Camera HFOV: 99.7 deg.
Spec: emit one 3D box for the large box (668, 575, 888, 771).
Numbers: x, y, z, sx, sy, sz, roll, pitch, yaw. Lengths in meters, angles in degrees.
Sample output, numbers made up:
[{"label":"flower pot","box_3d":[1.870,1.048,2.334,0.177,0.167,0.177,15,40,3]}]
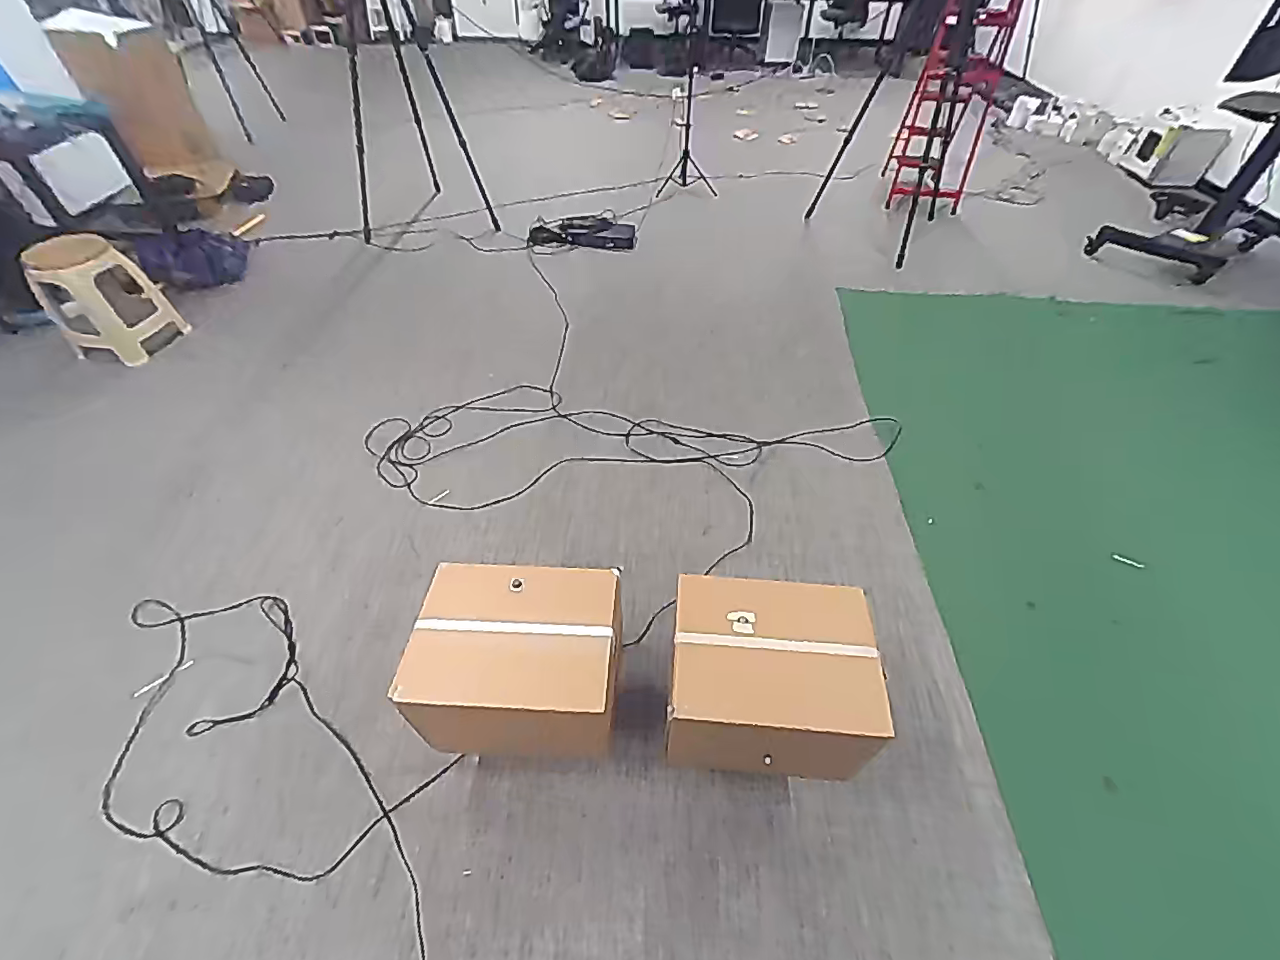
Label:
[{"label":"large box","box_3d":[0.275,0.435,1.211,0.408,0.320,0.320,4,48,4]}]
